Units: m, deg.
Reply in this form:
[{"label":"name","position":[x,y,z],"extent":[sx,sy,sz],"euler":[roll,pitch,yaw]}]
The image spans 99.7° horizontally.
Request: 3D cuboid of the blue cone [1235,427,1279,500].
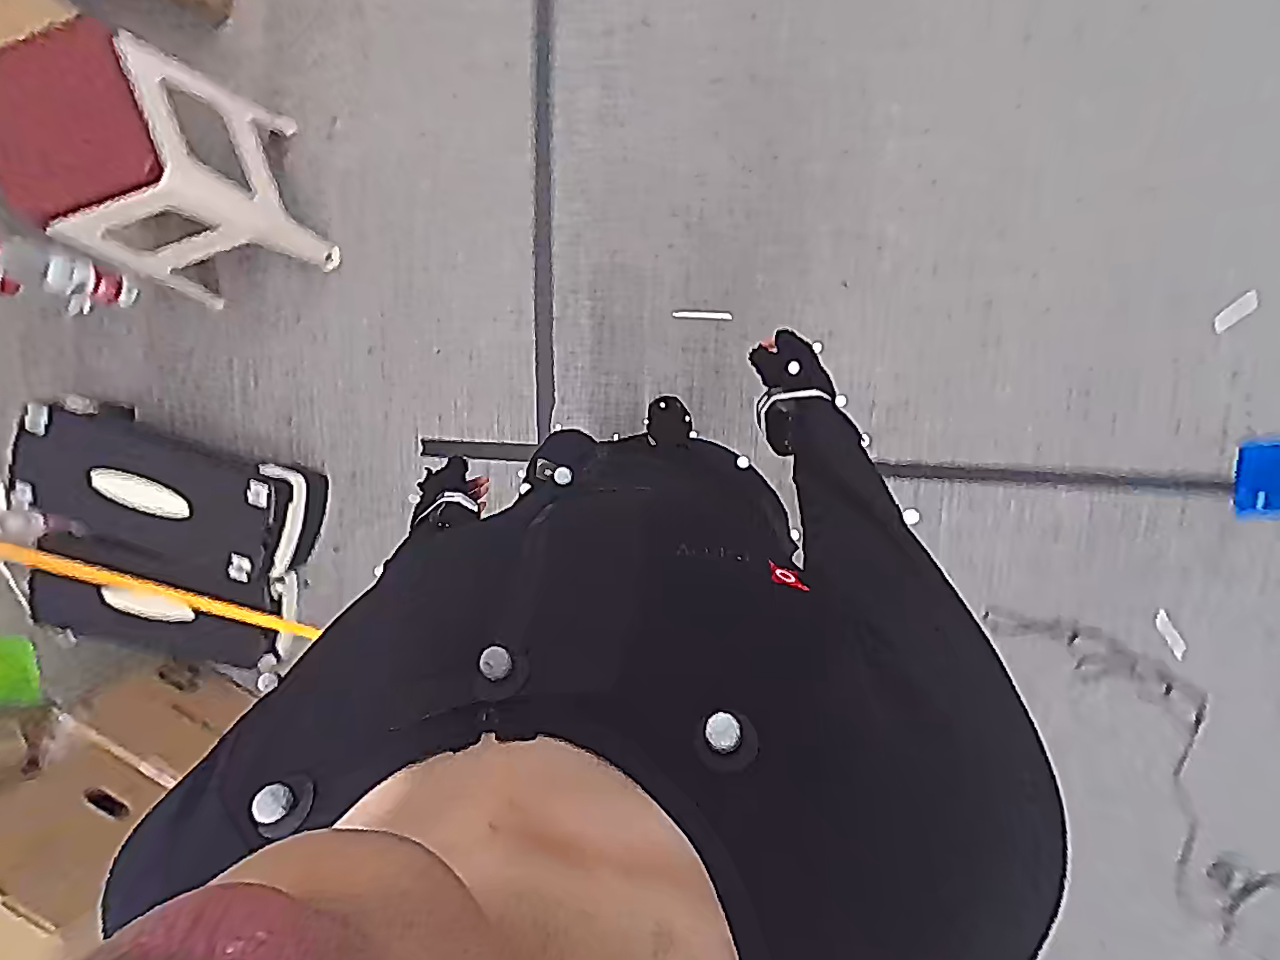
[{"label":"blue cone","position":[1.657,-0.029,1.256],"extent":[0.193,0.380,0.192],"euler":[-2,96,1]}]
